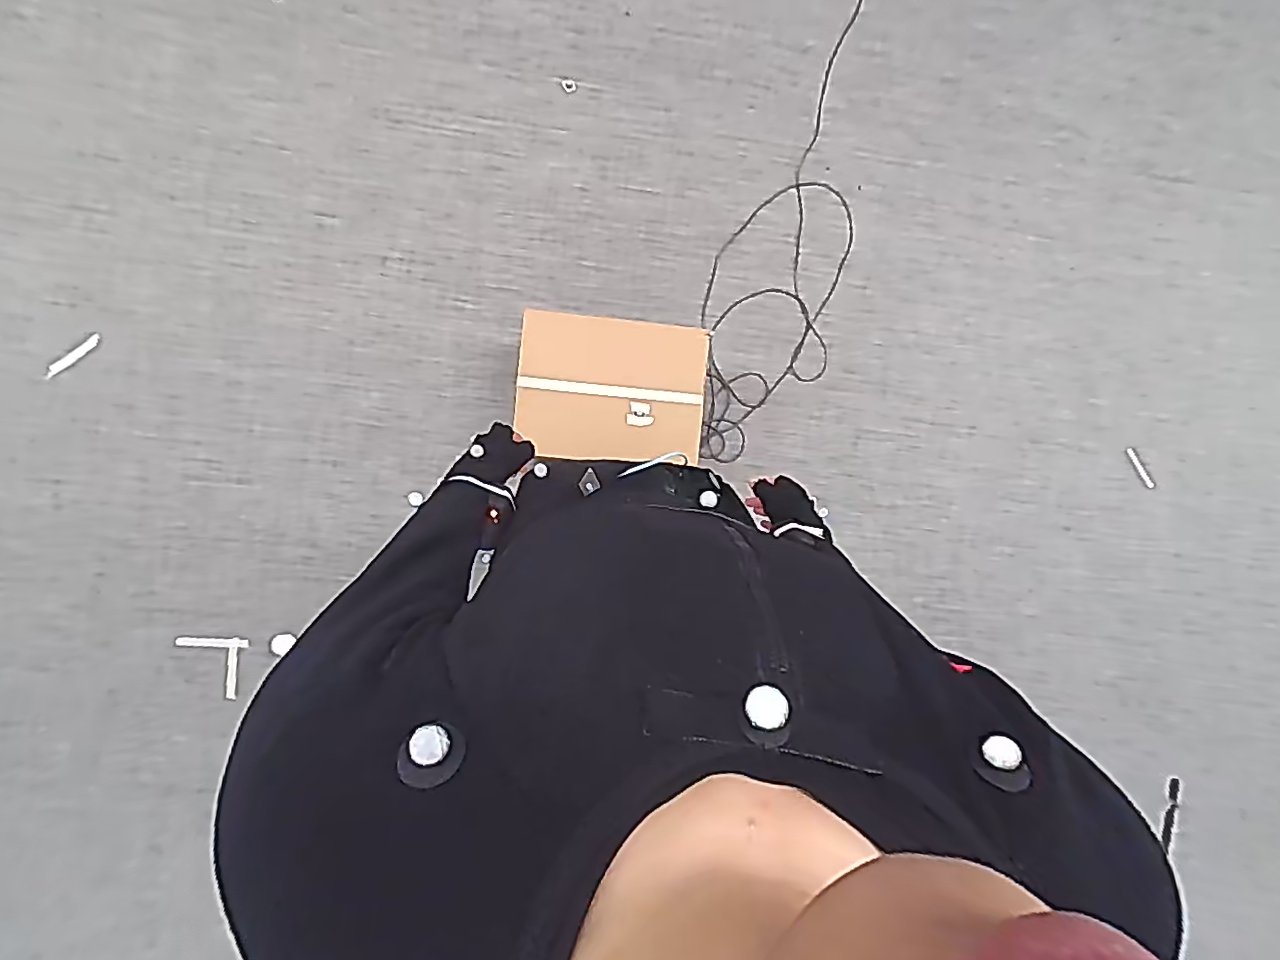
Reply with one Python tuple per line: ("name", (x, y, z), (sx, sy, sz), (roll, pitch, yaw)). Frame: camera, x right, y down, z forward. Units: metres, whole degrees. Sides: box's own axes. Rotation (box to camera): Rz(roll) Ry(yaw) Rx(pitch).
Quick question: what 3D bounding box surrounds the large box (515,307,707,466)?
("large box", (-0.076, -0.205, 1.326), (0.408, 0.320, 0.320), (6, 91, -5))
